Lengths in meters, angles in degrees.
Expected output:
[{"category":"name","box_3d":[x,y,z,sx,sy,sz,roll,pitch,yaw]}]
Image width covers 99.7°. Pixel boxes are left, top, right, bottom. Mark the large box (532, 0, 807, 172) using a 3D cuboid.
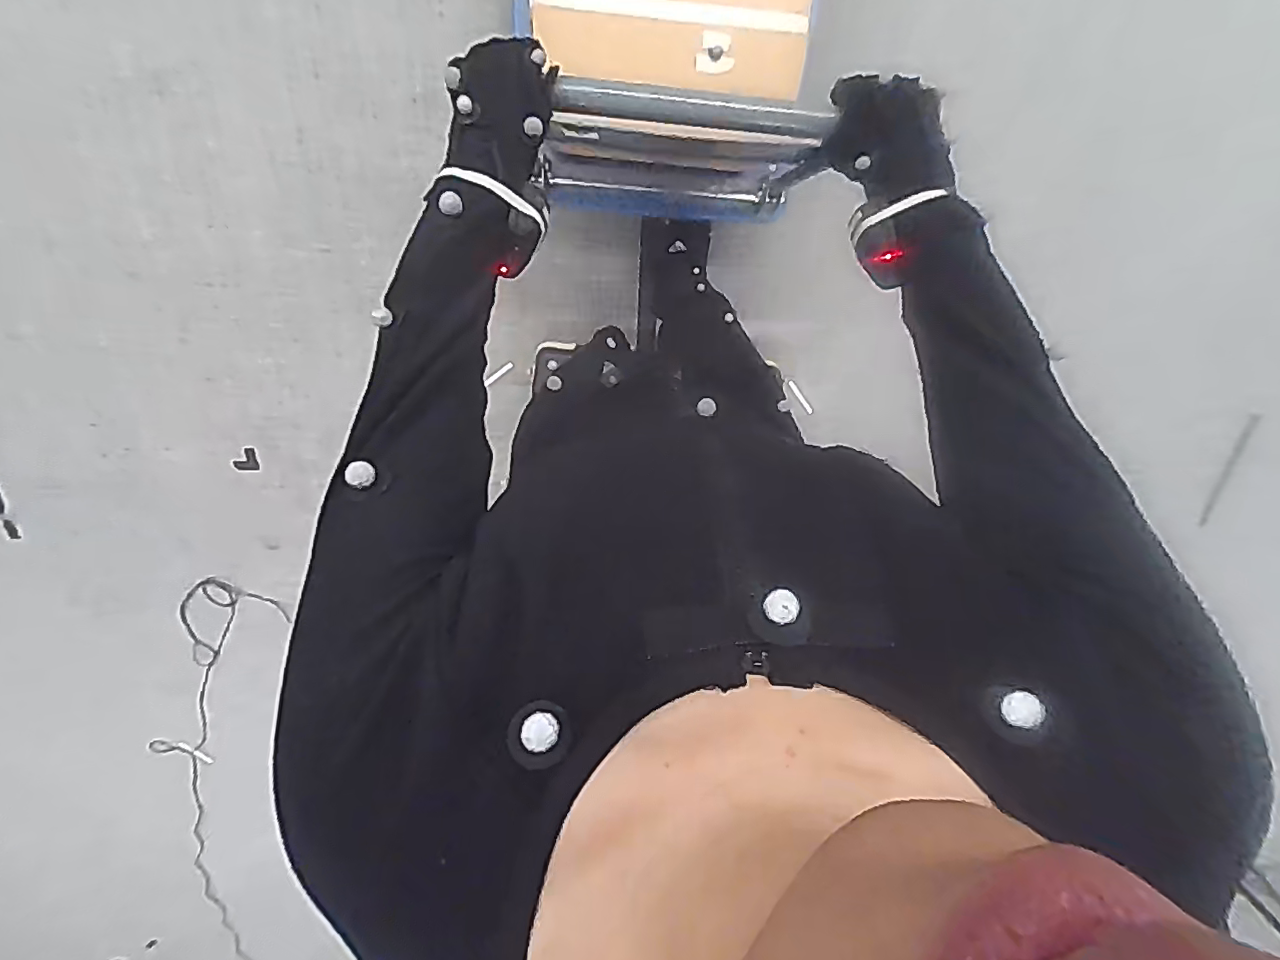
[{"category":"large box","box_3d":[0.031,-0.728,0.917,0.408,0.320,0.320,2,114,-5]}]
